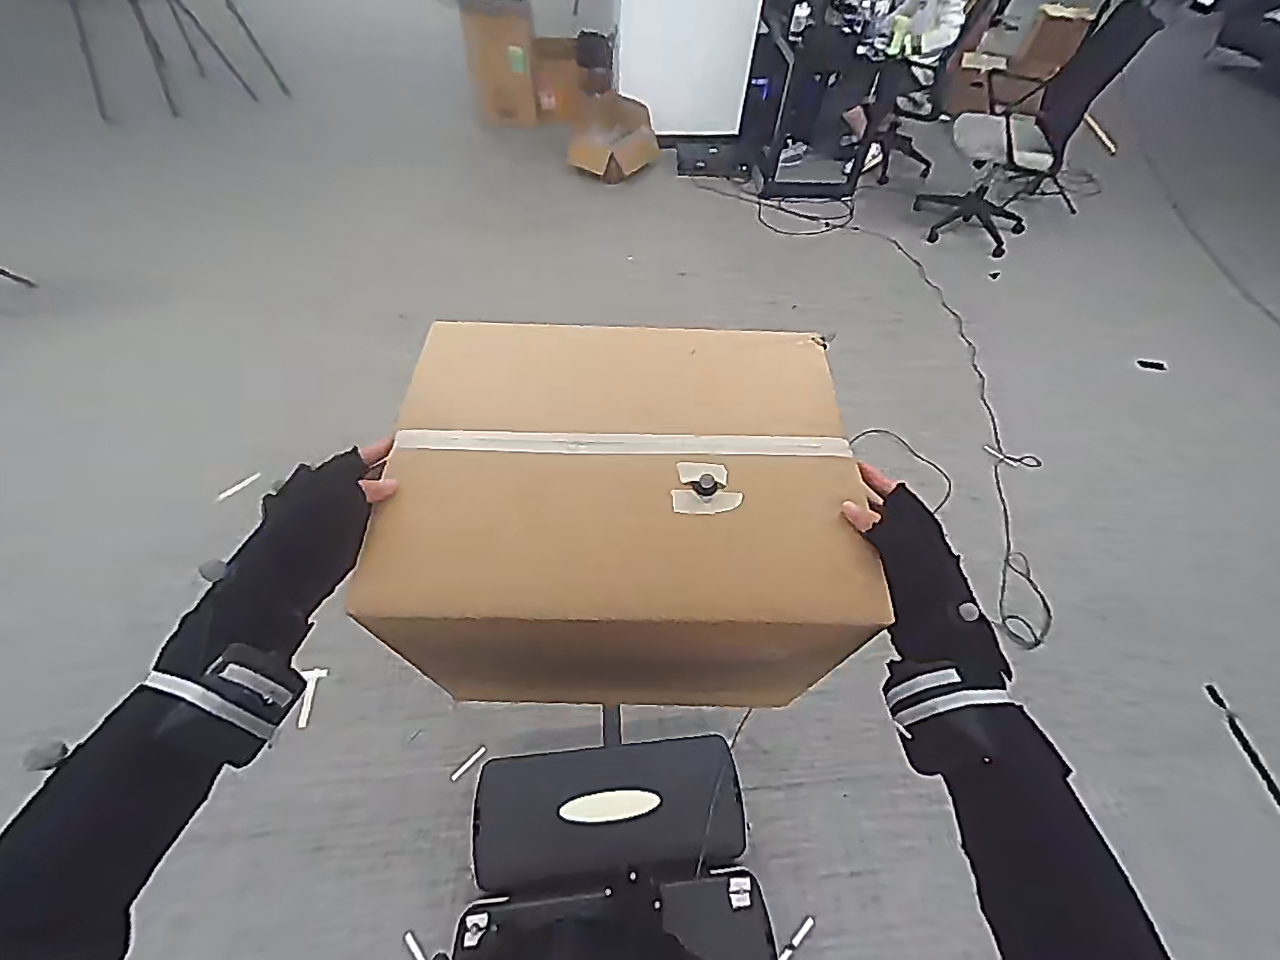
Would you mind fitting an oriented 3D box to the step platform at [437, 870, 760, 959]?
[{"bbox_3d":[-0.085,1.051,1.163,0.684,0.204,0.286,-4,54,-5],"label":"step platform"}]

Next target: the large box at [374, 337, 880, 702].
[{"bbox_3d":[-0.015,0.061,0.622,0.408,0.320,0.320,2,57,-2],"label":"large box"}]
